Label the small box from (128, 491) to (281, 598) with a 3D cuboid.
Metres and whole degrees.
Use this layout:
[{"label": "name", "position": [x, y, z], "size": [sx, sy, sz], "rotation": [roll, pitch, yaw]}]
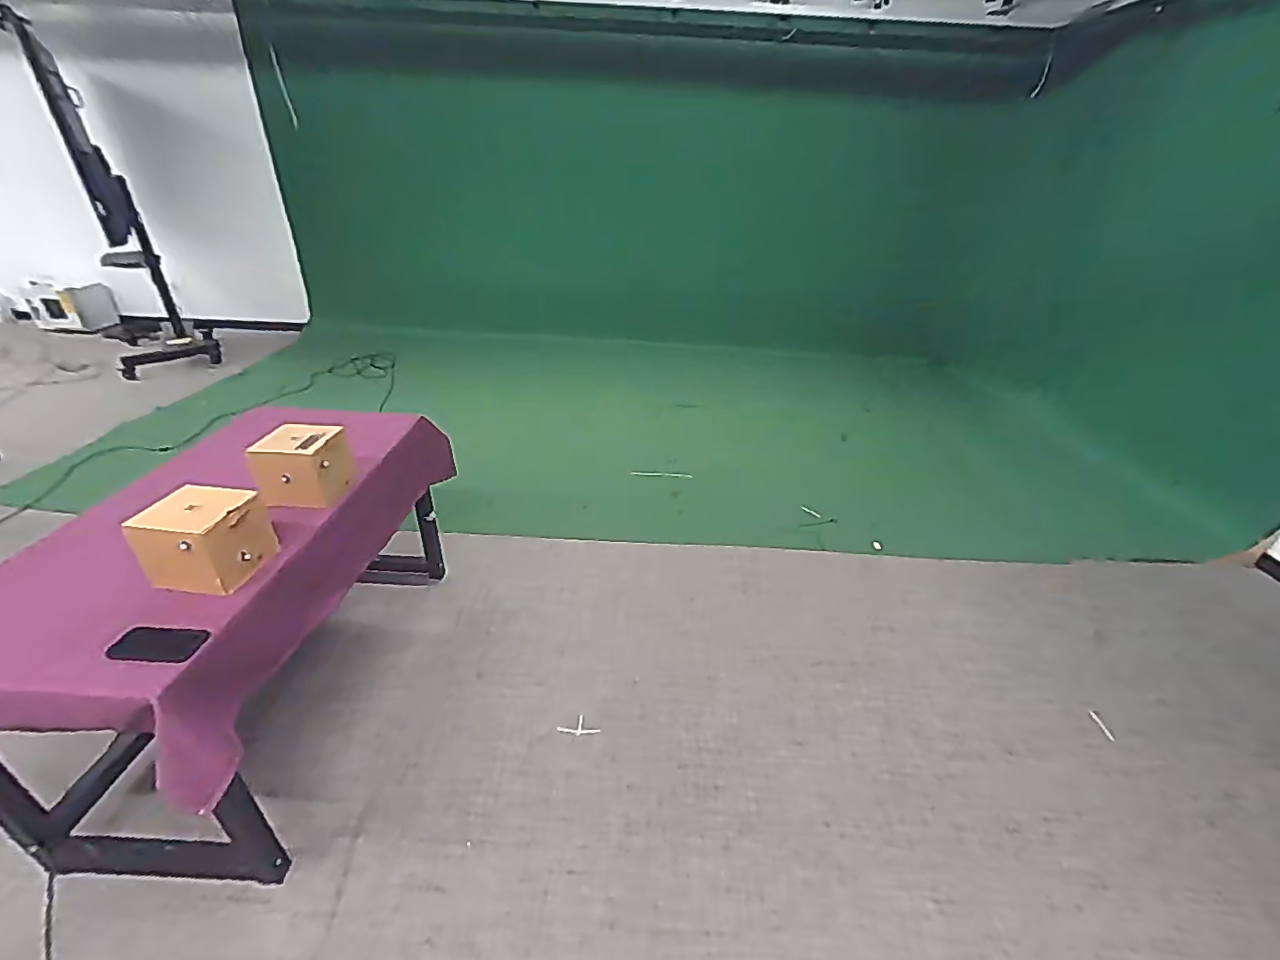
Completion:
[{"label": "small box", "position": [-0.945, 0.141, 1.191], "size": [0.179, 0.176, 0.168], "rotation": [5, 30, 4]}]
